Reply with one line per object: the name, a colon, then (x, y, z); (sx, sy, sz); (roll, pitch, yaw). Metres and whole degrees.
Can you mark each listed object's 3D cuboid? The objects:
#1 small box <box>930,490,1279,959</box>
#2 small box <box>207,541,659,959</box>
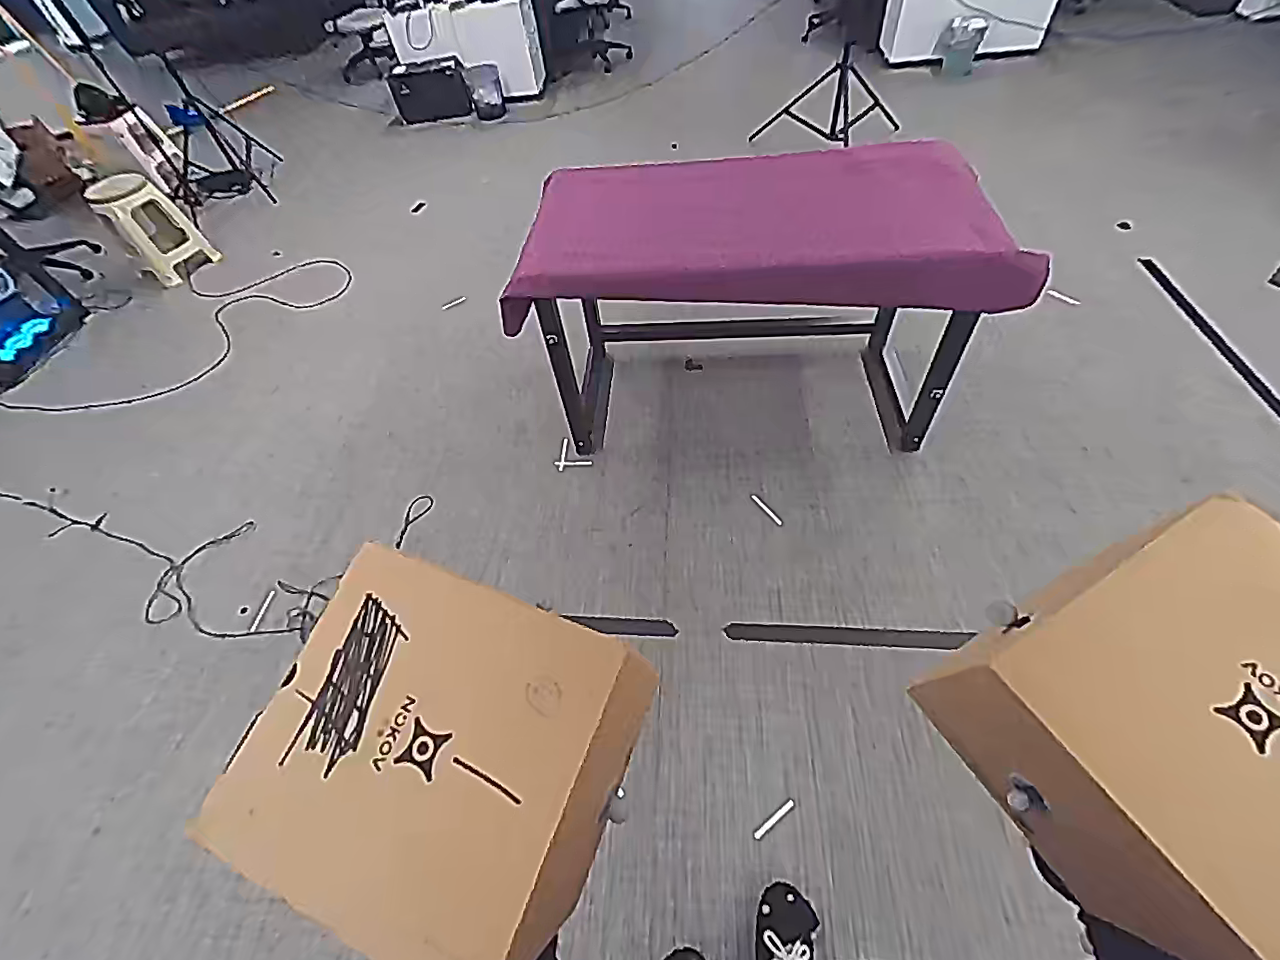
small box: (0.311, 0.143, 0.330); (0.179, 0.176, 0.168); (-33, 63, -6)
small box: (-0.099, 0.164, 0.347); (0.179, 0.176, 0.168); (18, 69, 15)
